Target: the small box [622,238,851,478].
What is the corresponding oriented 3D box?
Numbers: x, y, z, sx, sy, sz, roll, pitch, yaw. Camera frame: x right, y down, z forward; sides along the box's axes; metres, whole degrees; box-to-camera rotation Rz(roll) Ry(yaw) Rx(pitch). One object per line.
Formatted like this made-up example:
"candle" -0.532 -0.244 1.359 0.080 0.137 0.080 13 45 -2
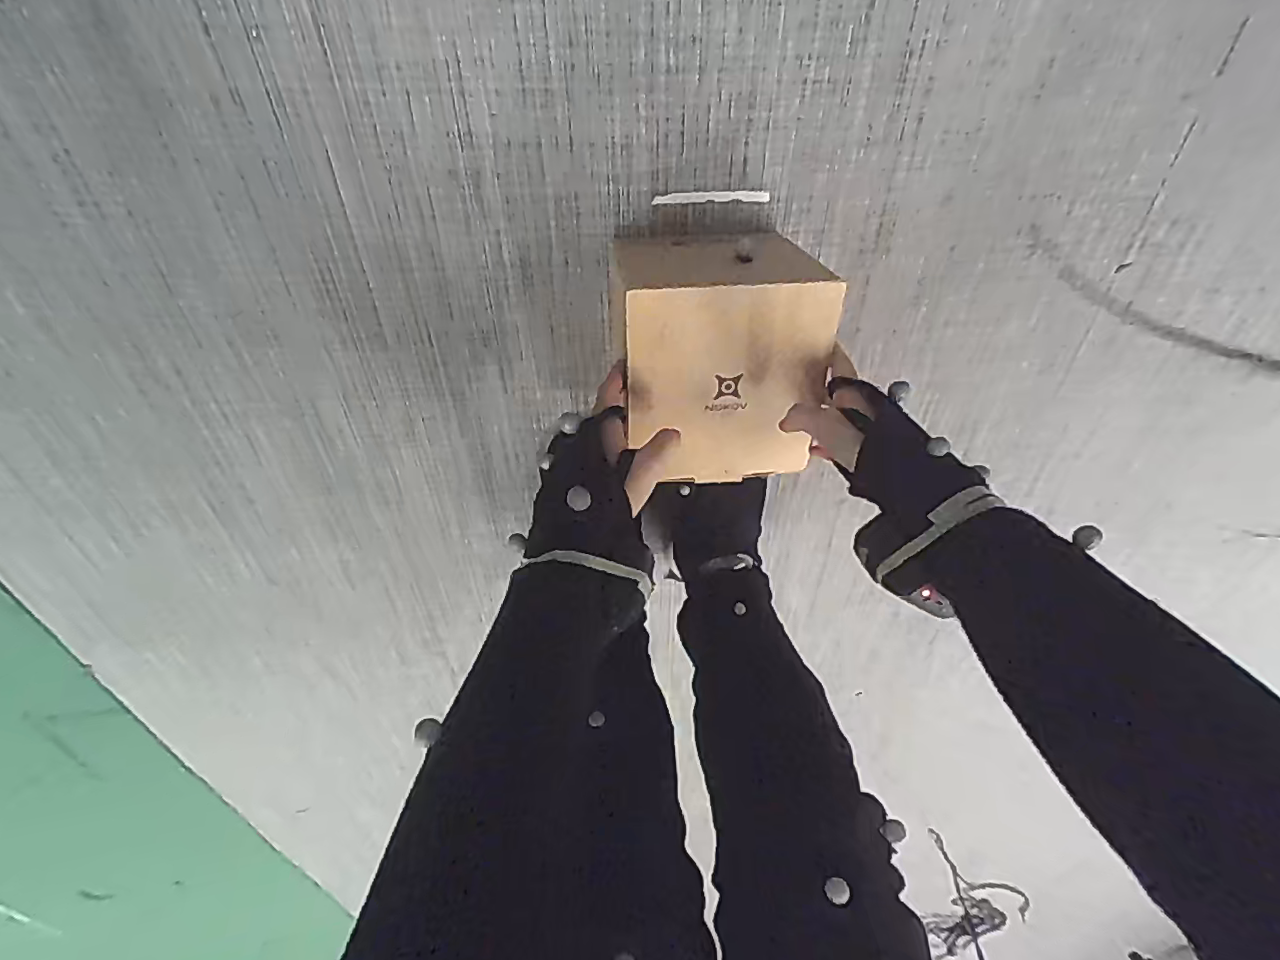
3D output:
"small box" 0.070 -0.123 0.514 0.168 0.176 0.179 -3 128 -5
